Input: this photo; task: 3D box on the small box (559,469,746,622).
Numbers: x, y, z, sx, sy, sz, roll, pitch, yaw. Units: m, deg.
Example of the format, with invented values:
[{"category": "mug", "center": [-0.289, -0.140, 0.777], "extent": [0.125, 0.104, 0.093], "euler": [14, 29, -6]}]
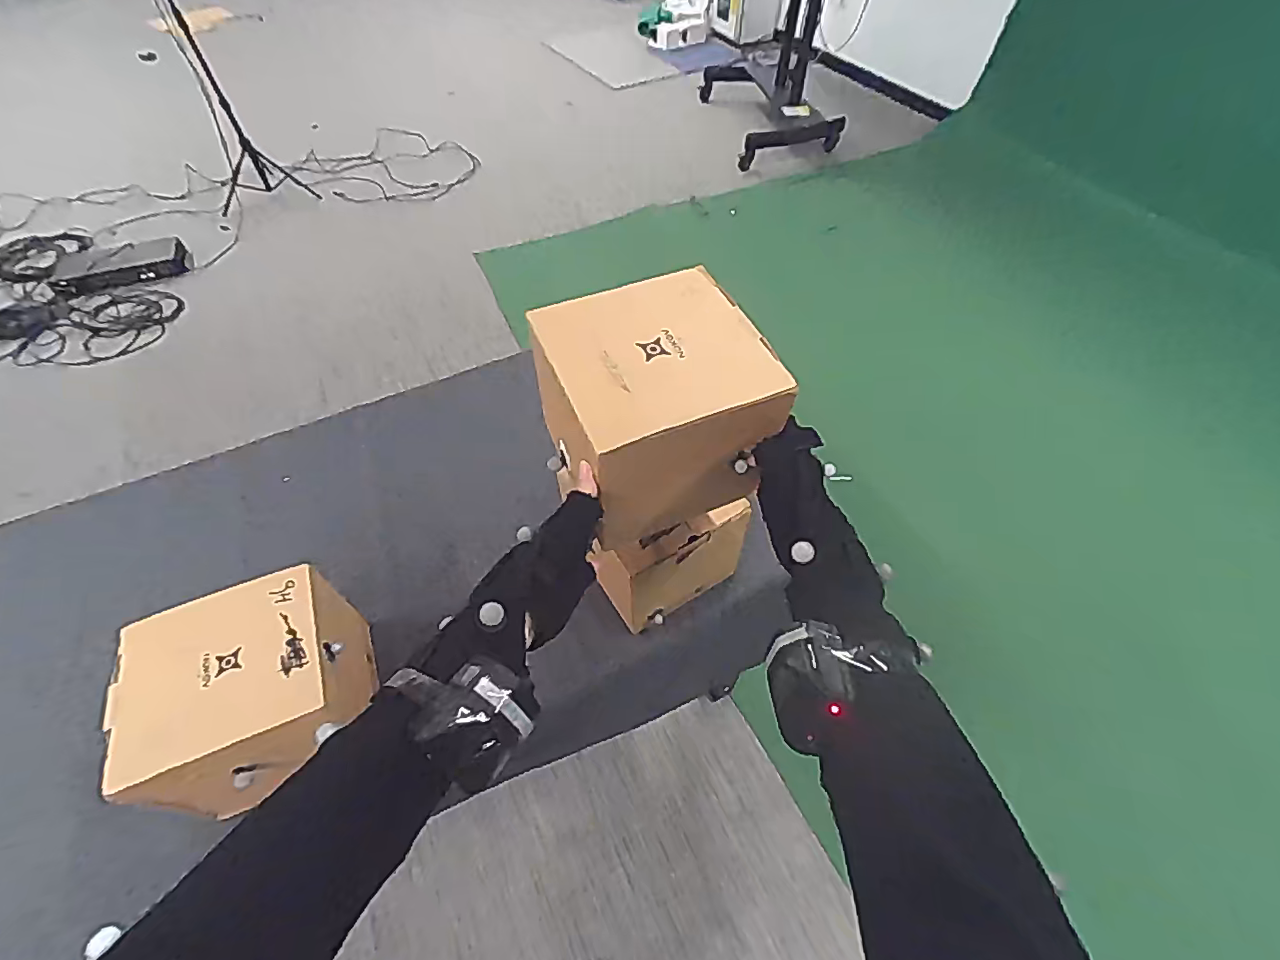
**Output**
[{"category": "small box", "center": [0.014, 0.064, 0.712], "extent": [0.168, 0.176, 0.179], "euler": [-27, 57, -19]}]

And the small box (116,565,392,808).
[{"category": "small box", "center": [-0.397, 0.227, 0.585], "extent": [0.179, 0.176, 0.168], "euler": [-20, 55, -15]}]

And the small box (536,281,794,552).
[{"category": "small box", "center": [0.015, -0.057, 0.527], "extent": [0.179, 0.176, 0.168], "euler": [-21, 59, -14]}]
